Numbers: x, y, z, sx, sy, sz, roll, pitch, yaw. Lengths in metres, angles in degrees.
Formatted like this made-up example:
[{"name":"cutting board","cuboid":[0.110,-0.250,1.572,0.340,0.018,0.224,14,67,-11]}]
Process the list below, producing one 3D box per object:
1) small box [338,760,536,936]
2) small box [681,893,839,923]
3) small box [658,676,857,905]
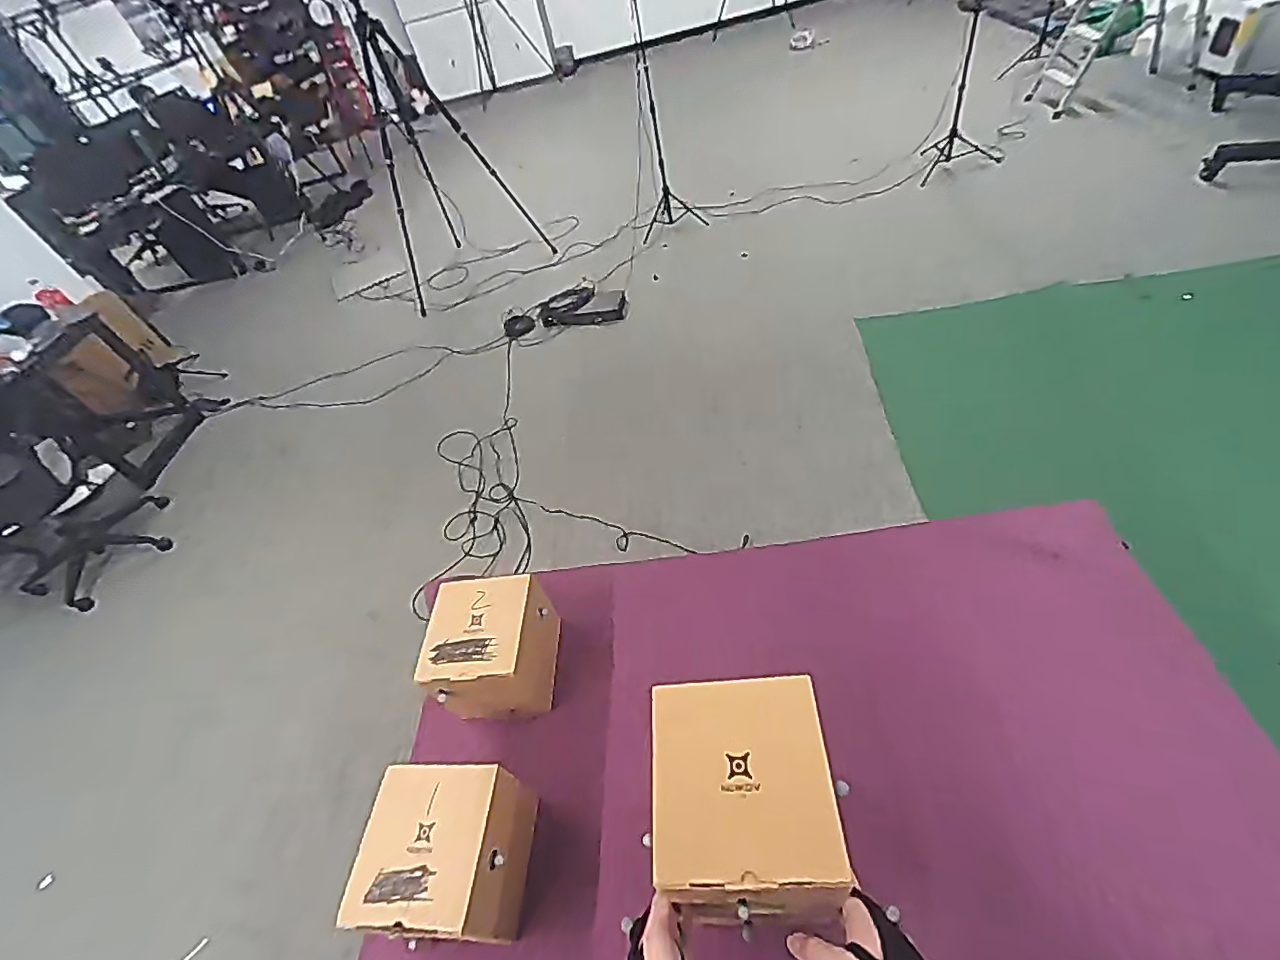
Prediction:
[{"name":"small box","cuboid":[-0.254,0.496,0.729,0.168,0.176,0.179,-5,47,10]},{"name":"small box","cuboid":[0.139,0.435,0.676,0.168,0.176,0.179,-7,48,8]},{"name":"small box","cuboid":[0.110,0.324,0.562,0.168,0.176,0.179,-7,48,8]}]
